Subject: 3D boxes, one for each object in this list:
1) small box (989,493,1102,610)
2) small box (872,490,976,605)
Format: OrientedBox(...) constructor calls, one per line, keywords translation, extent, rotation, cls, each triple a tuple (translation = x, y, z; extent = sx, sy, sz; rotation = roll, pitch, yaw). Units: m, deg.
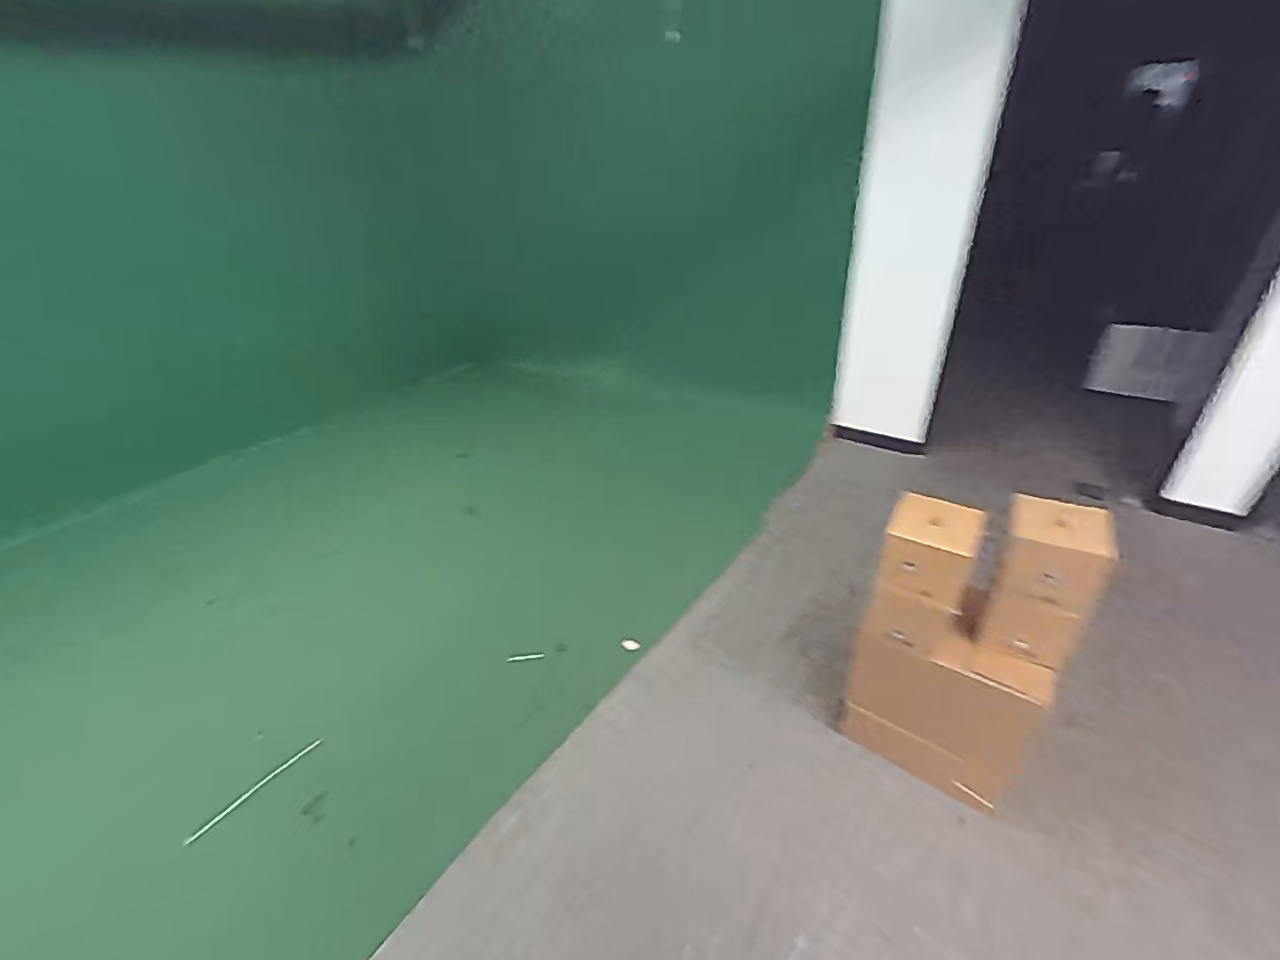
OrientedBox(translation=(0.890, 0.157, 1.197), extent=(0.168, 0.176, 0.179), rotation=(15, 38, 29), cls="small box")
OrientedBox(translation=(0.645, 0.154, 1.238), extent=(0.168, 0.176, 0.179), rotation=(18, 42, 30), cls="small box")
